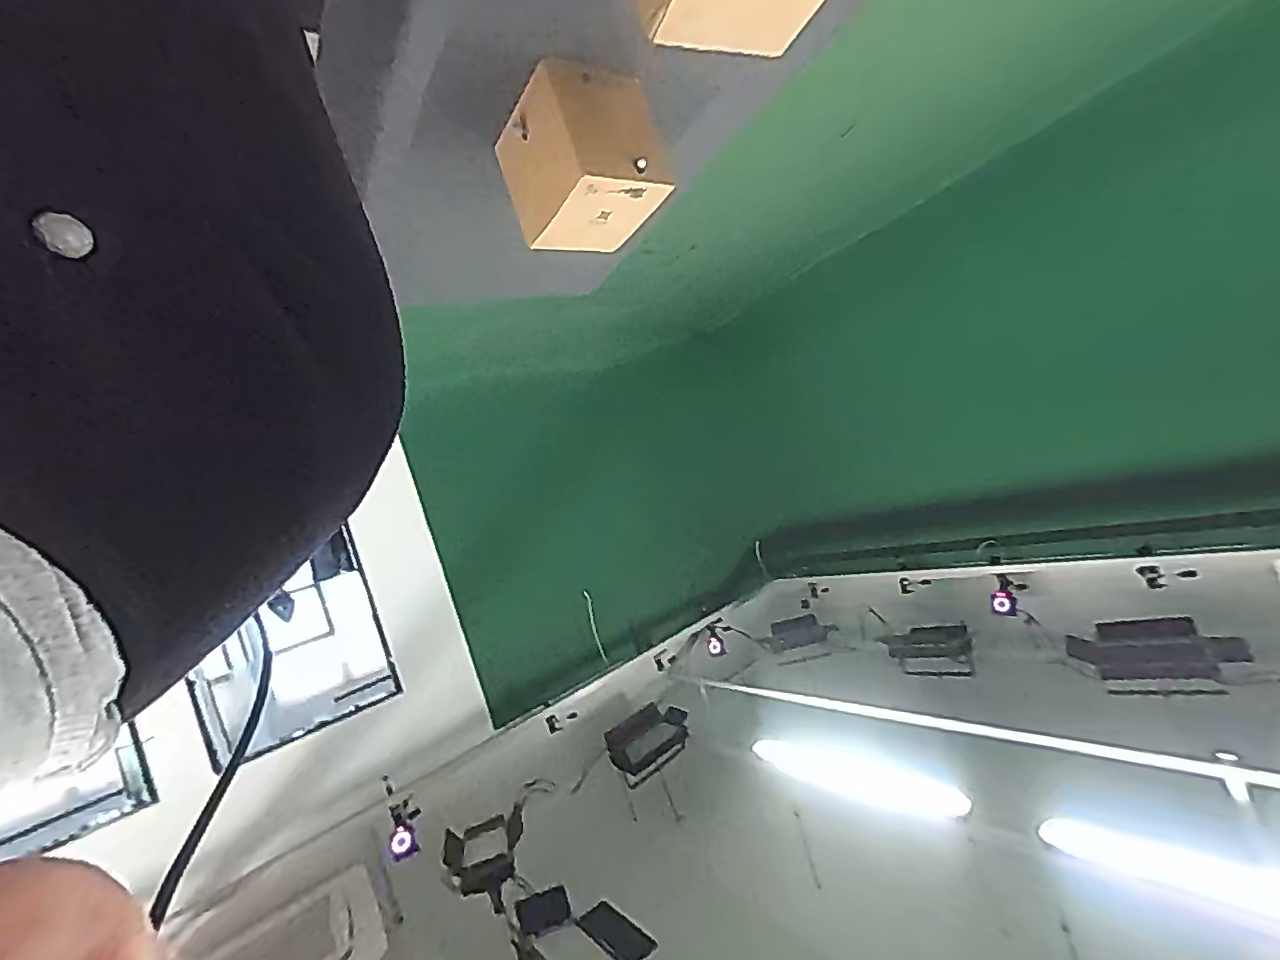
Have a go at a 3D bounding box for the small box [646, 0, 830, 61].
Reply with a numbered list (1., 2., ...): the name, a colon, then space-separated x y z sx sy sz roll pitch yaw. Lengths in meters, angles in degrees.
1. small box: 0.090 -0.521 0.478 0.179 0.176 0.168 -21 -179 -26

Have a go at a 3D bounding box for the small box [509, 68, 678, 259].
1. small box: -0.076 -0.451 0.801 0.168 0.176 0.179 -18 179 -37
